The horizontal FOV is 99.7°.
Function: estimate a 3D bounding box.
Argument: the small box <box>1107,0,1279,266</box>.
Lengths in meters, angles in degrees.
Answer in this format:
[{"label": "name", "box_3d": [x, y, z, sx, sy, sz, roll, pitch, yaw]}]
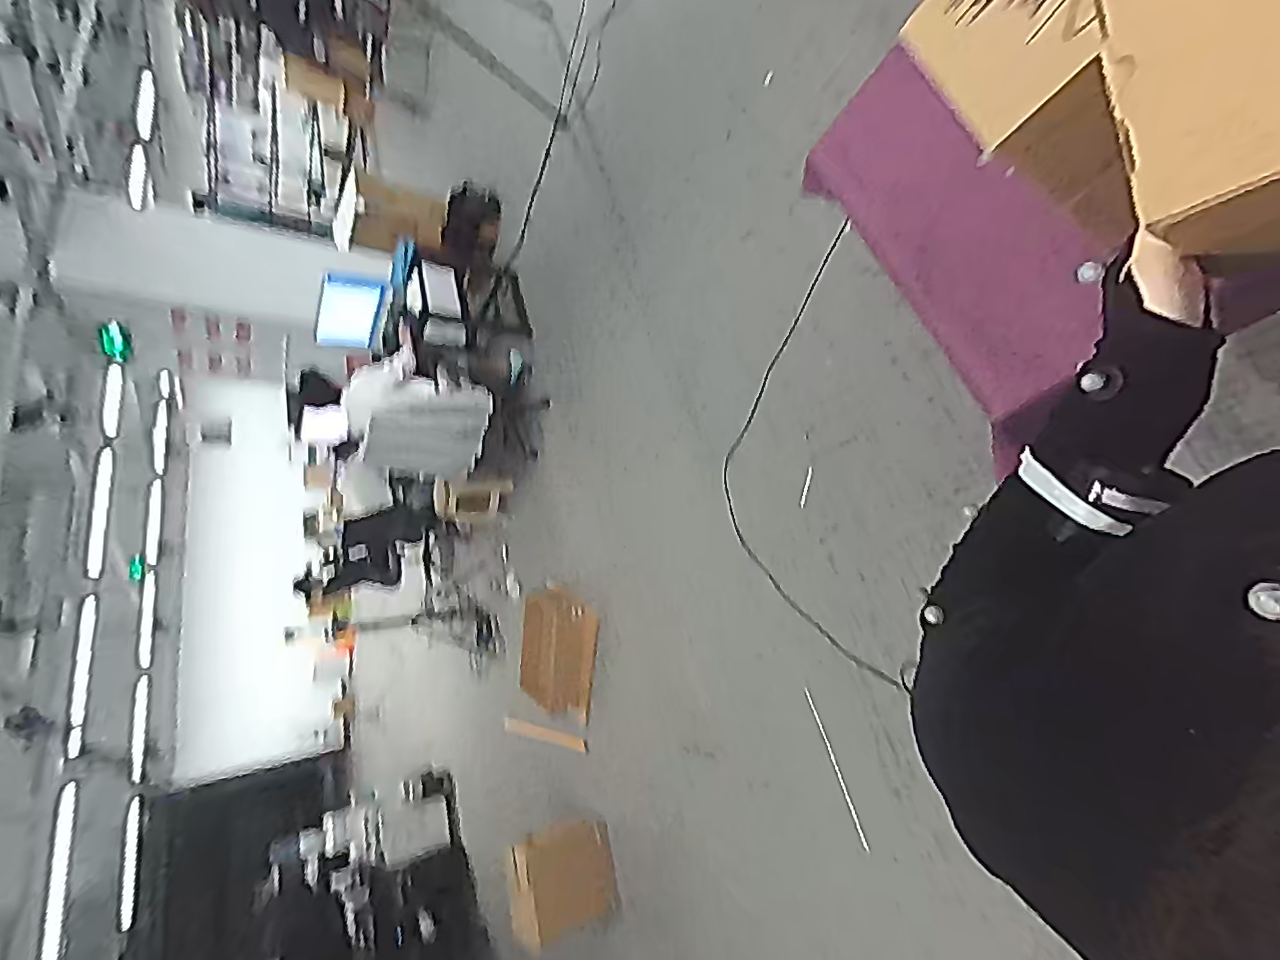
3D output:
[{"label": "small box", "box_3d": [0.363, -0.223, 0.251, 0.179, 0.176, 0.168, -14, 82, 57]}]

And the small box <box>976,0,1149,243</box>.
[{"label": "small box", "box_3d": [0.512, -0.389, 0.579, 0.168, 0.176, 0.179, -42, 58, 46]}]
